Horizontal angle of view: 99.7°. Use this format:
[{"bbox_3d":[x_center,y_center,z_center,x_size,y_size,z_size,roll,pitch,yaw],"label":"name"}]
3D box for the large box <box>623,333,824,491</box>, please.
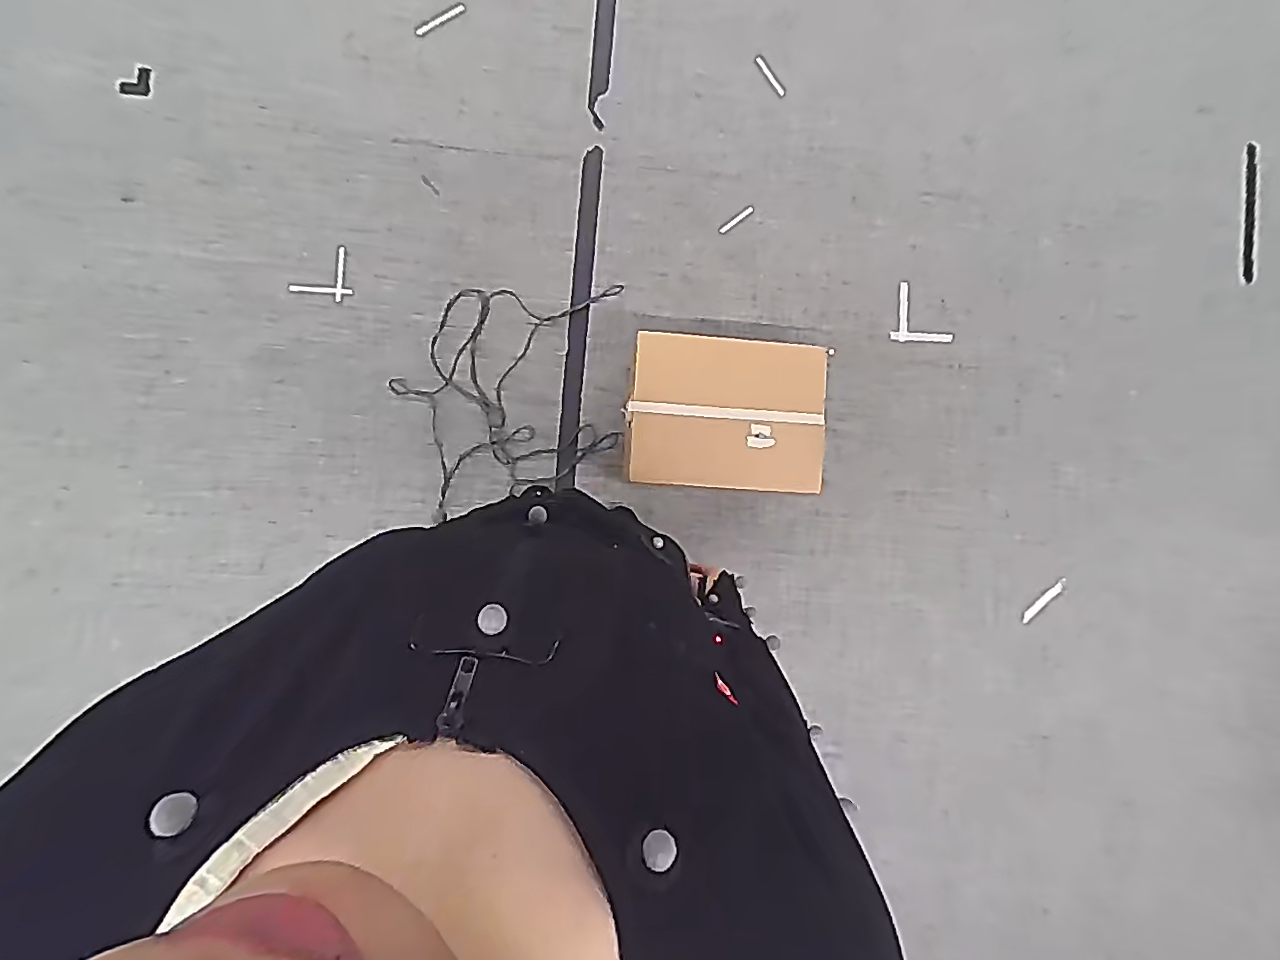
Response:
[{"bbox_3d":[0.171,-0.137,1.269,0.408,0.320,0.320,3,89,-5],"label":"large box"}]
